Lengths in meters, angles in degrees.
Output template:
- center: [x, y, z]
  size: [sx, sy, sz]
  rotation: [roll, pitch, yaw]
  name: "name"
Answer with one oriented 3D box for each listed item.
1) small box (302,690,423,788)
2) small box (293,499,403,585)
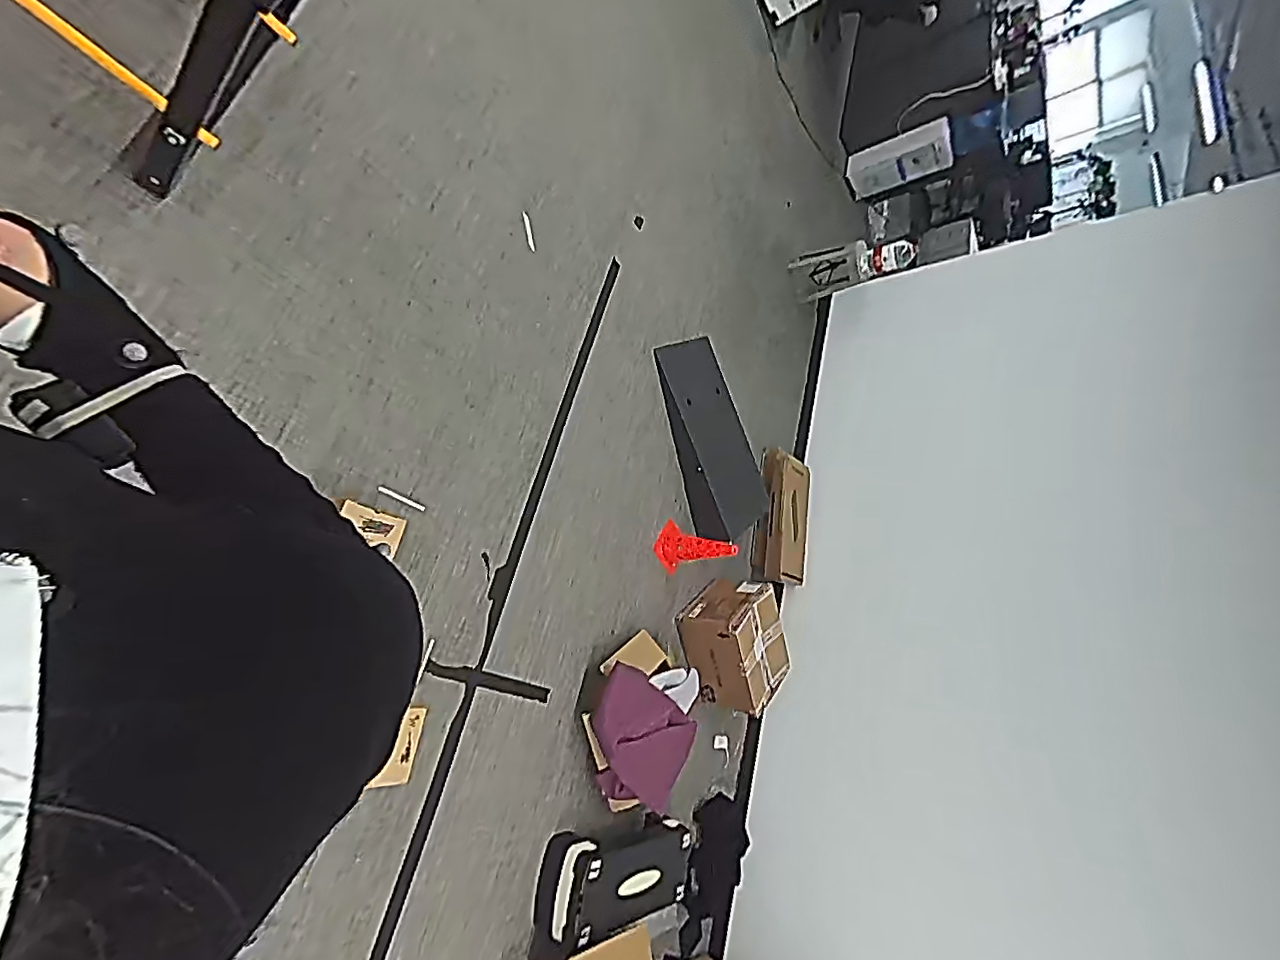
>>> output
- center: [-0.639, 0.587, 1.241]
  size: [0.179, 0.176, 0.168]
  rotation: [27, 68, -45]
  name: "small box"
- center: [-0.750, 0.157, 1.385]
  size: [0.168, 0.176, 0.179]
  rotation: [33, 64, -44]
  name: "small box"
